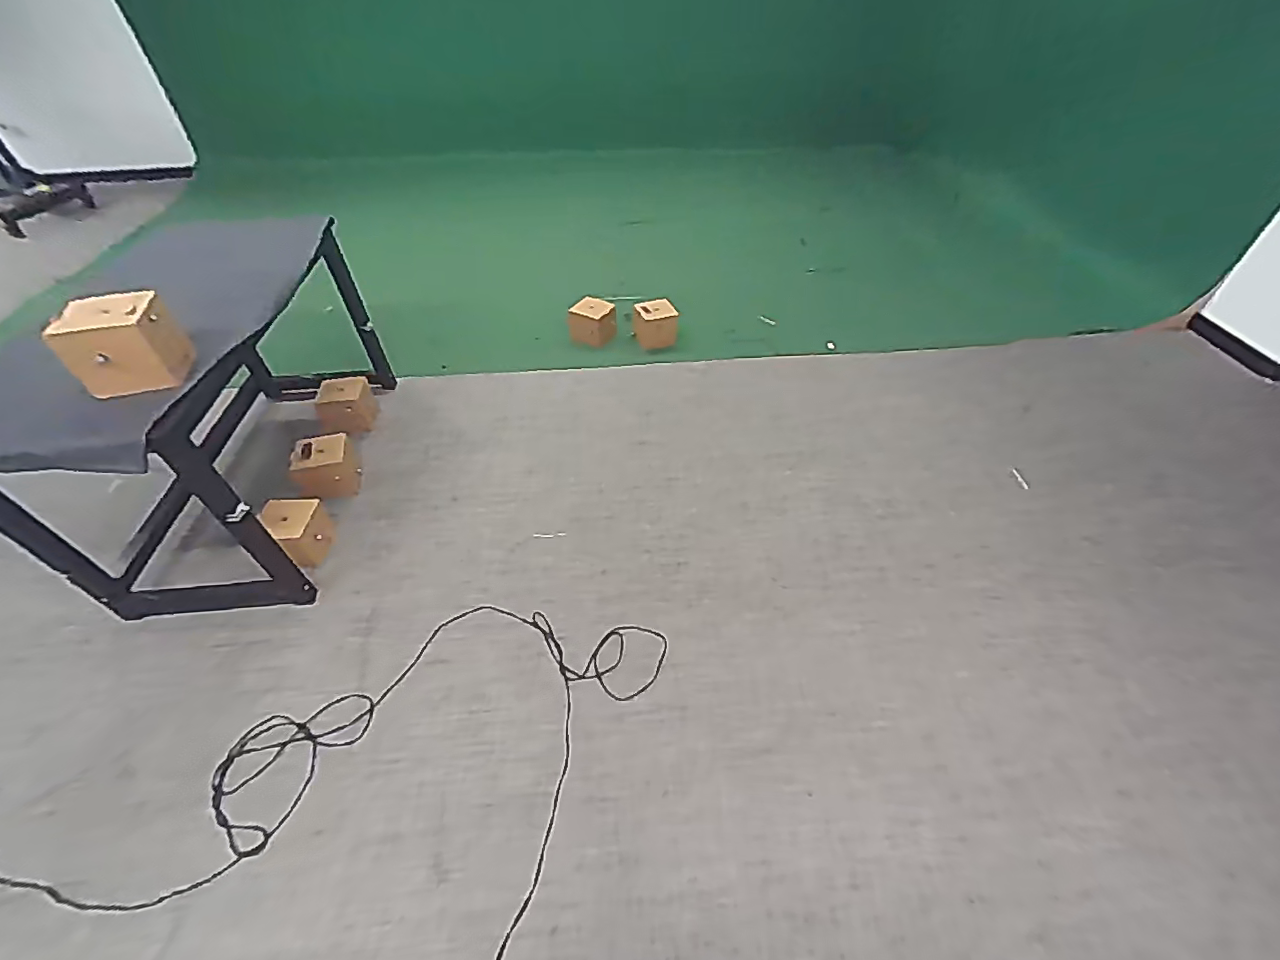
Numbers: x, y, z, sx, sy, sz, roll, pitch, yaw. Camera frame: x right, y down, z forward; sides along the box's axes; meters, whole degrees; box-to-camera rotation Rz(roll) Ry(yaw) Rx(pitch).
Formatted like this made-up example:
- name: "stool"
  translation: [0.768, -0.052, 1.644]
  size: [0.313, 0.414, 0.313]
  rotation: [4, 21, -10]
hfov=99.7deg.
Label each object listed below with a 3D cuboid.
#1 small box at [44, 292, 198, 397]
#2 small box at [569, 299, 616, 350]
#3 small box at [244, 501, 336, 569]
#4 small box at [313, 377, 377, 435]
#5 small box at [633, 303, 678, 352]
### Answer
- name: "small box"
  translation: [-1.194, -0.313, 1.262]
  size: [0.179, 0.176, 0.168]
  rotation: [-13, 48, -12]
- name: "small box"
  translation: [-0.231, -0.770, 2.693]
  size: [0.179, 0.176, 0.168]
  rotation: [22, 50, 21]
- name: "small box"
  translation: [-1.151, 0.185, 1.797]
  size: [0.179, 0.176, 0.168]
  rotation: [-1, 47, 0]
- name: "small box"
  translation: [-1.224, -0.307, 2.261]
  size: [0.179, 0.176, 0.168]
  rotation: [-7, 46, -6]
- name: "small box"
  translation: [0.075, -0.750, 2.669]
  size: [0.179, 0.176, 0.168]
  rotation: [-15, 48, -14]
